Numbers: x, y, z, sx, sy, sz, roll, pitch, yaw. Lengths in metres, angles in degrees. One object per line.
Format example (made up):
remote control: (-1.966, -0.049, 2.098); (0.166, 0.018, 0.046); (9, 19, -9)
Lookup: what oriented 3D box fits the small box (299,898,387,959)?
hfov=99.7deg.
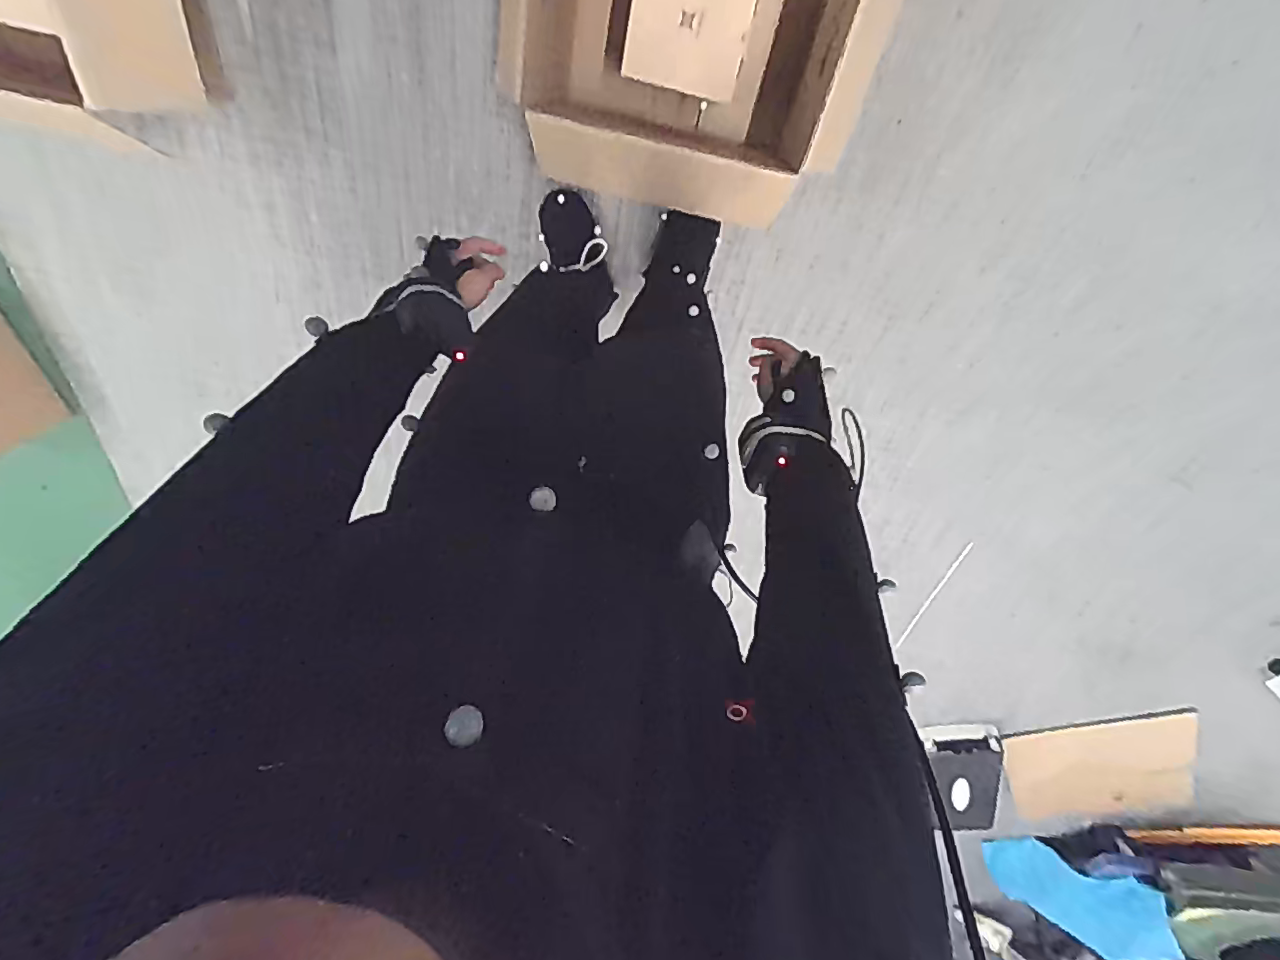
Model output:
small box: (-0.846, 1.332, 1.548); (0.179, 0.176, 0.168); (11, 126, 0)
